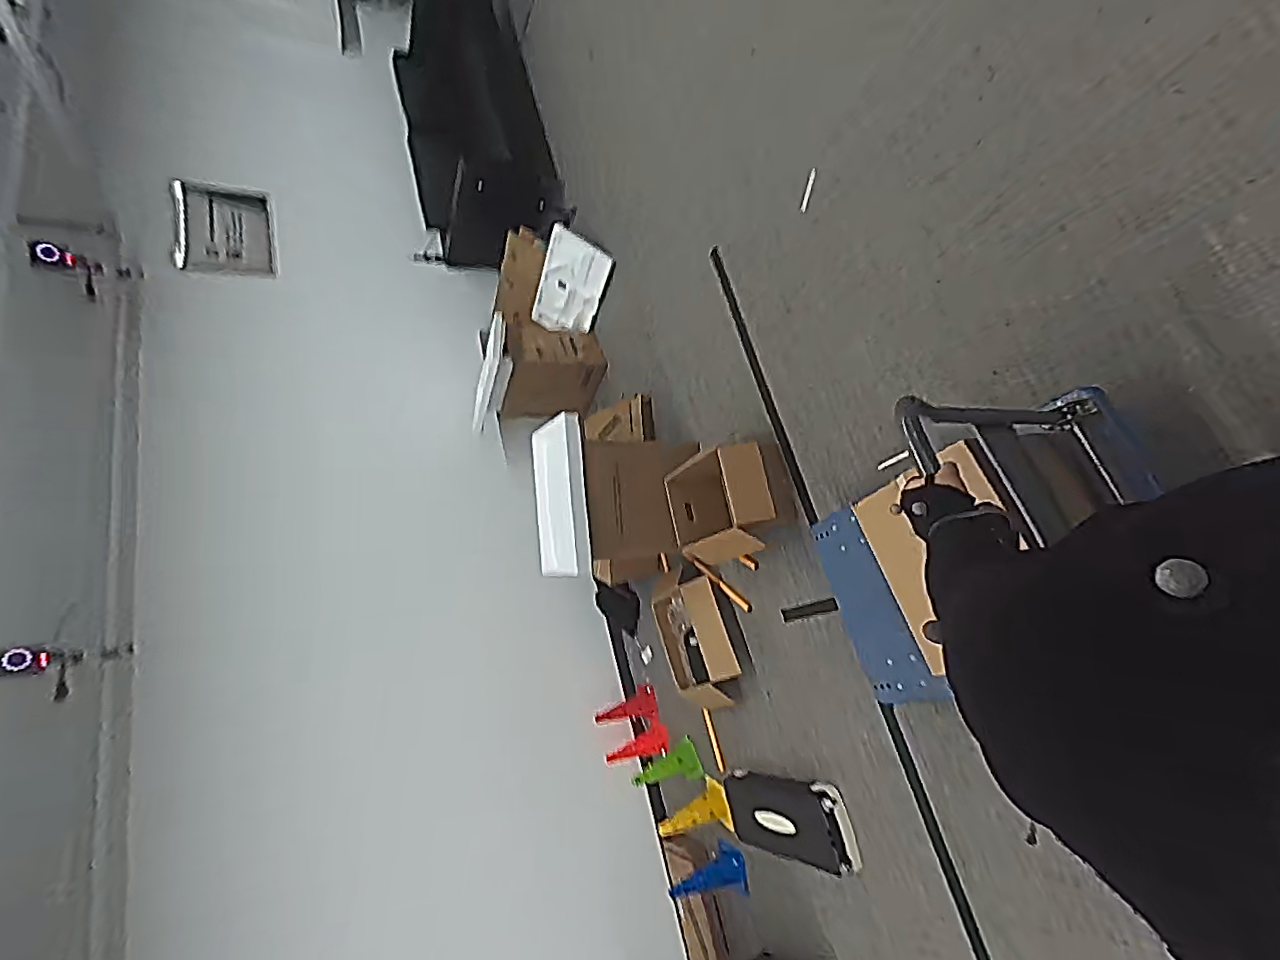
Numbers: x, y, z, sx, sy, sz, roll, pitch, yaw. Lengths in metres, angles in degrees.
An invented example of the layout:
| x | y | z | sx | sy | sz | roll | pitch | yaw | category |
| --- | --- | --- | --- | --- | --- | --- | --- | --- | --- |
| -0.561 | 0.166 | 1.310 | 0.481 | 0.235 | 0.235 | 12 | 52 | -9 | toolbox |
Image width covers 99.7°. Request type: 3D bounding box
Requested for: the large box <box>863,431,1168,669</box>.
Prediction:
| x | y | z | sx | sy | sz | roll | pitch | yaw | category |
| --- | --- | --- | --- | --- | --- | --- | --- | --- | --- |
| 0.775 | 0.143 | 1.161 | 0.320 | 0.320 | 0.408 | -50 | 51 | 51 | large box |
